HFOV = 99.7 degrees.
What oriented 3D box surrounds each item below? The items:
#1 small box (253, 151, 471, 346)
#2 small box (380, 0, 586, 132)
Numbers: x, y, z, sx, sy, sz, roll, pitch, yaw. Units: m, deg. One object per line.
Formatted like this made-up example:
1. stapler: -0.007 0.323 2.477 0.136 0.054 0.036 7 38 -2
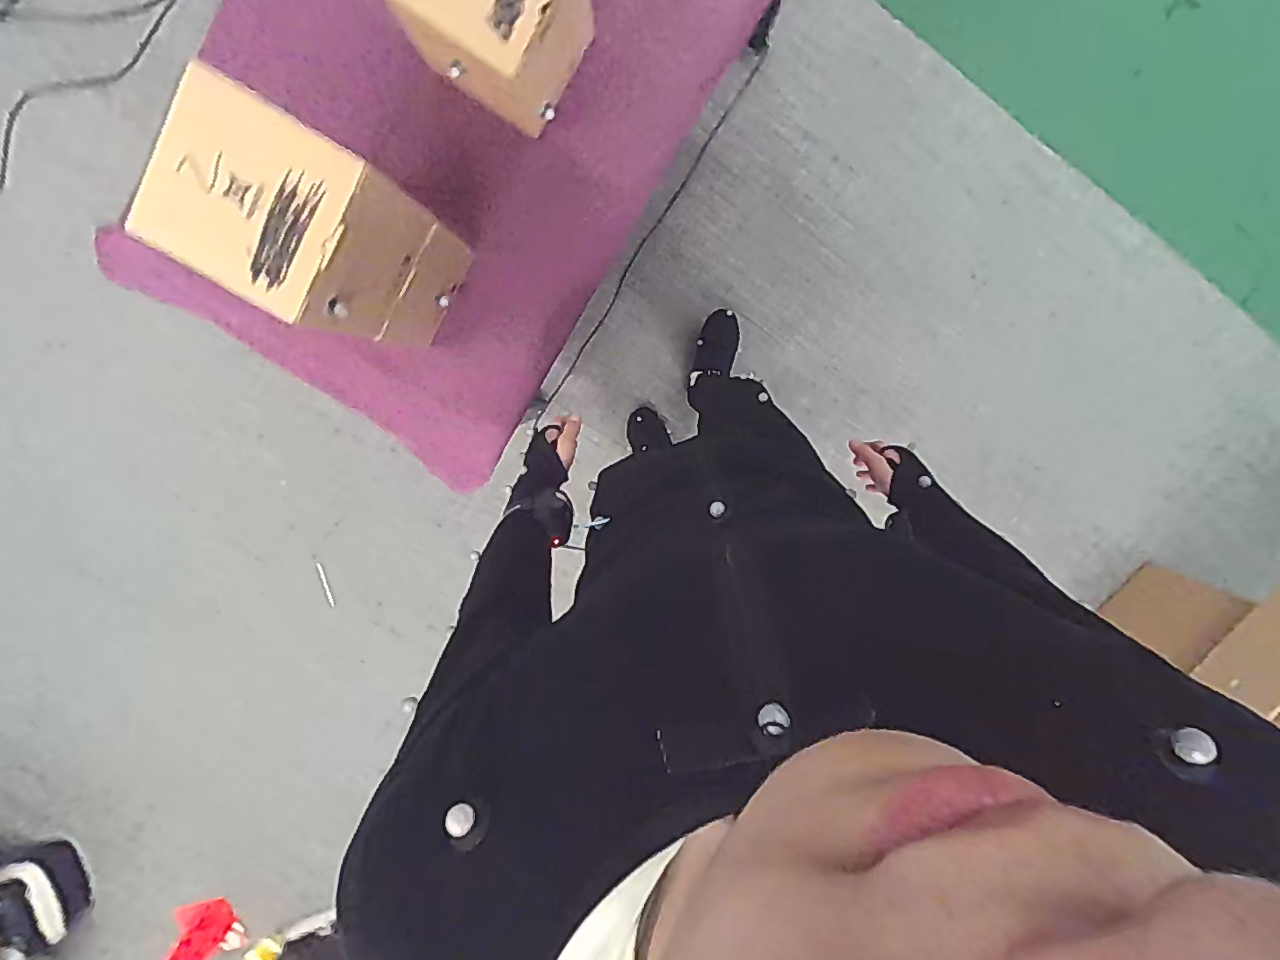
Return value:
1. small box: -0.364 -0.296 0.741 0.179 0.176 0.168 30 99 -6
2. small box: -0.185 -0.588 0.691 0.179 0.176 0.168 32 99 -5
